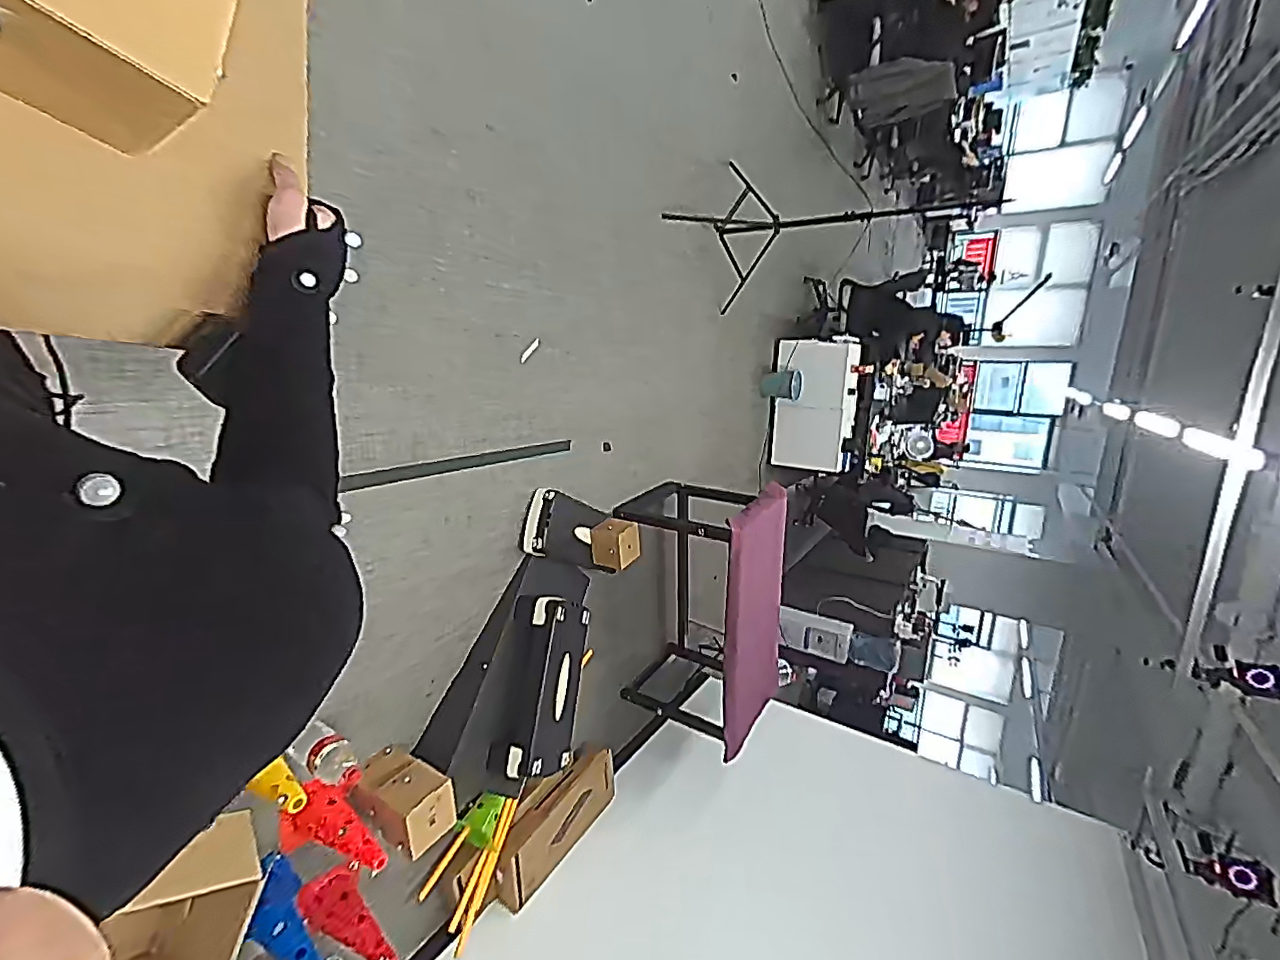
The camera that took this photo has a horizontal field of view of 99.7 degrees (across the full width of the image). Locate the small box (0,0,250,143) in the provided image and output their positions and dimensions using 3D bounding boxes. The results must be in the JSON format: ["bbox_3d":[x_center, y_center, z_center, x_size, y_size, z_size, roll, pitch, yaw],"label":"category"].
[{"bbox_3d":[-0.380,-0.351,0.345,0.179,0.176,0.168,17,85,-54],"label":"small box"}]
